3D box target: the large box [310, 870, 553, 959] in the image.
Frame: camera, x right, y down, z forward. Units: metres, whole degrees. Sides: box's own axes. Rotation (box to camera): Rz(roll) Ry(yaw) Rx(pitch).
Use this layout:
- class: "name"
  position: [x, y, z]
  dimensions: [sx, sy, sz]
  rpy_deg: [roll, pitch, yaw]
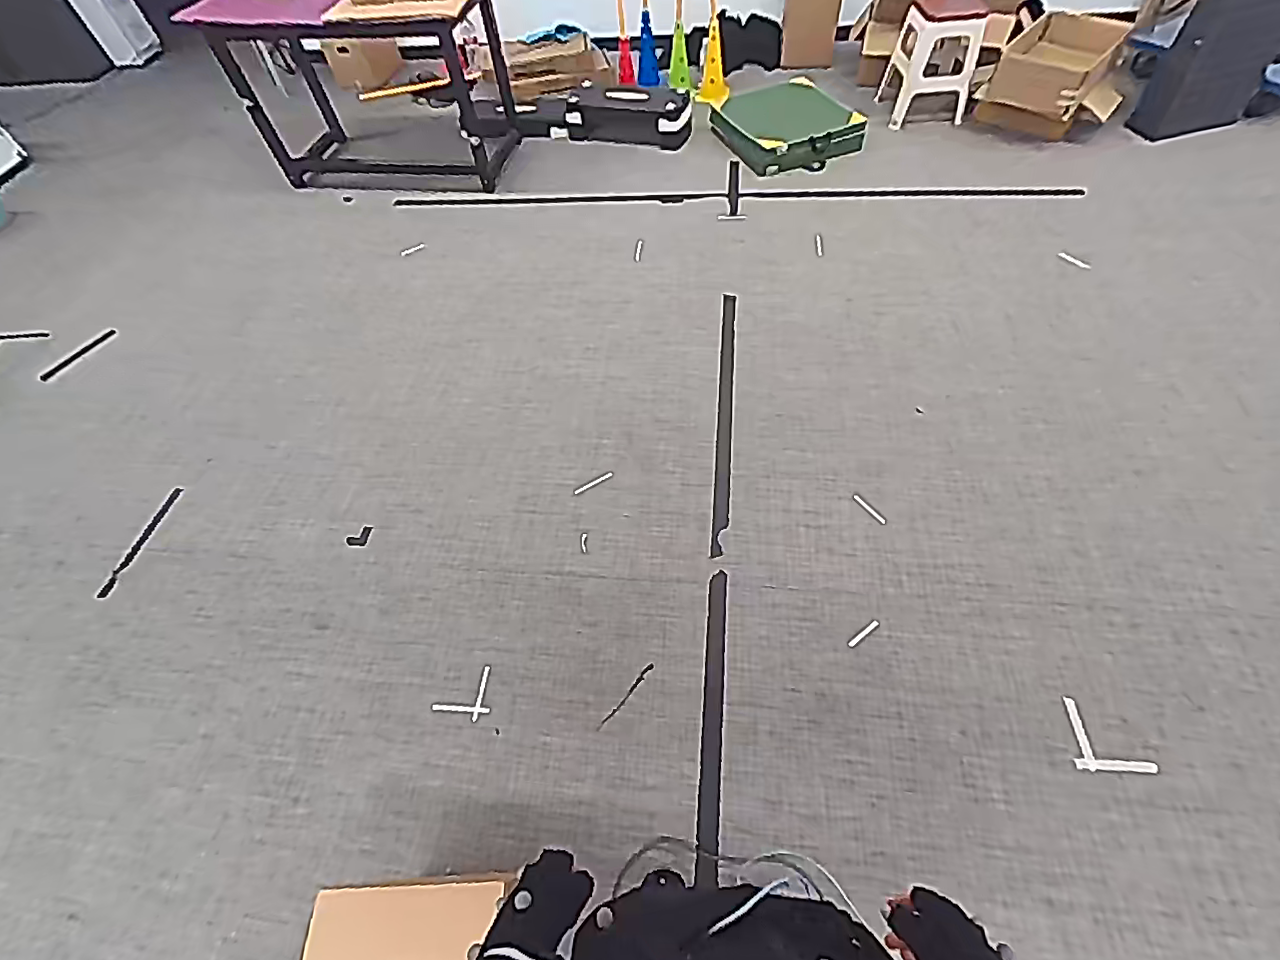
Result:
- class: "large box"
  position: [-0.351, 0.902, 0.960]
  dimensions: [0.320, 0.408, 0.320]
  rpy_deg: [-3, 57, 2]
